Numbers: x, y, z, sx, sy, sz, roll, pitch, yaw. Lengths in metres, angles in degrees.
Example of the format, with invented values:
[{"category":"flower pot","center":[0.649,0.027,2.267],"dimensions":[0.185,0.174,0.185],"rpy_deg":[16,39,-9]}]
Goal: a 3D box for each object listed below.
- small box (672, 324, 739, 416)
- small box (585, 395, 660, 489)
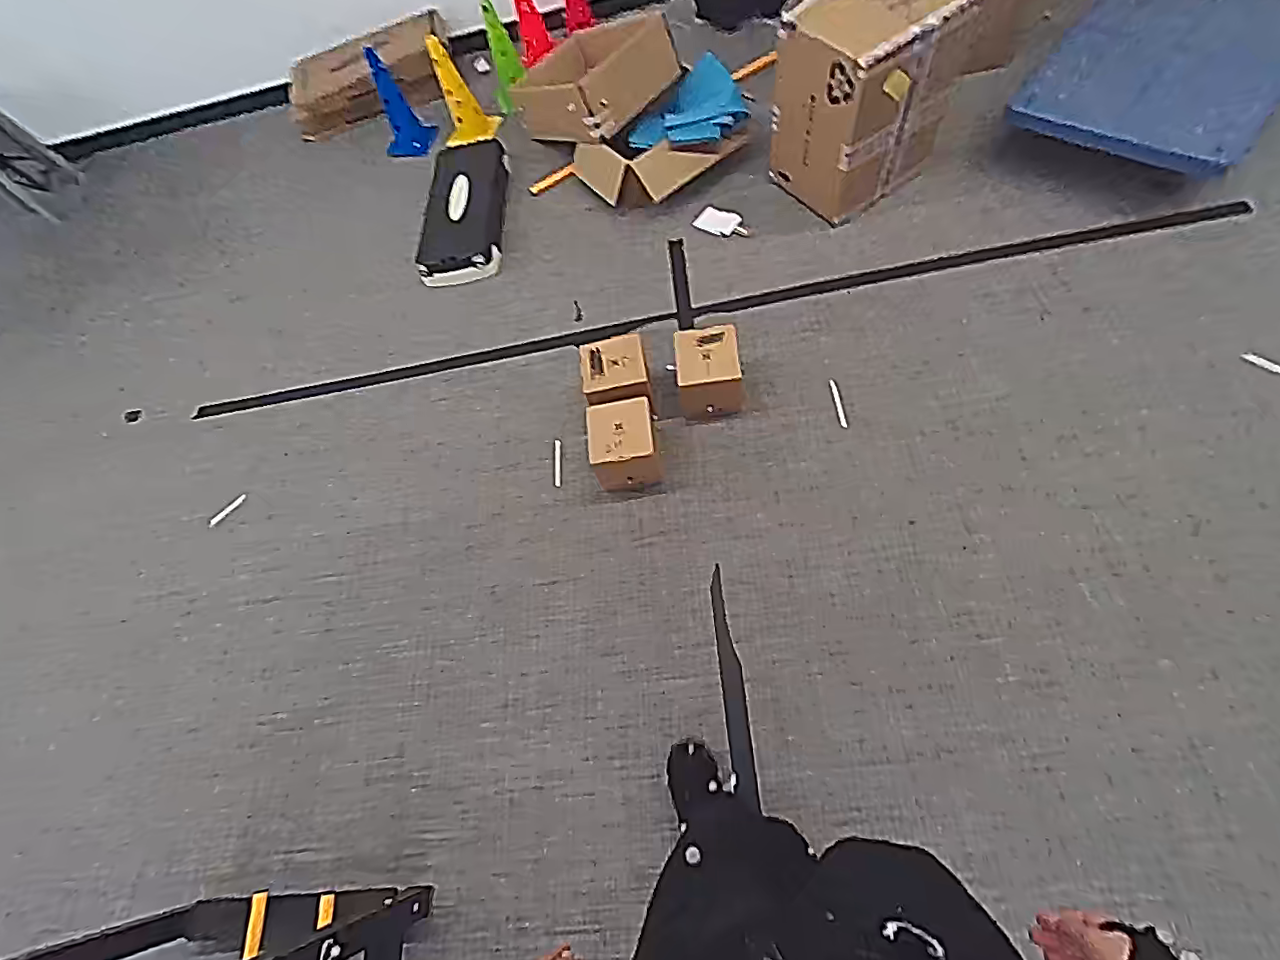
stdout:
[{"category":"small box","center":[0.182,-0.299,1.494],"dimensions":[0.168,0.176,0.179],"rpy_deg":[-6,65,8]},{"category":"small box","center":[-0.046,-0.097,1.441],"dimensions":[0.168,0.176,0.179],"rpy_deg":[-10,64,7]}]
